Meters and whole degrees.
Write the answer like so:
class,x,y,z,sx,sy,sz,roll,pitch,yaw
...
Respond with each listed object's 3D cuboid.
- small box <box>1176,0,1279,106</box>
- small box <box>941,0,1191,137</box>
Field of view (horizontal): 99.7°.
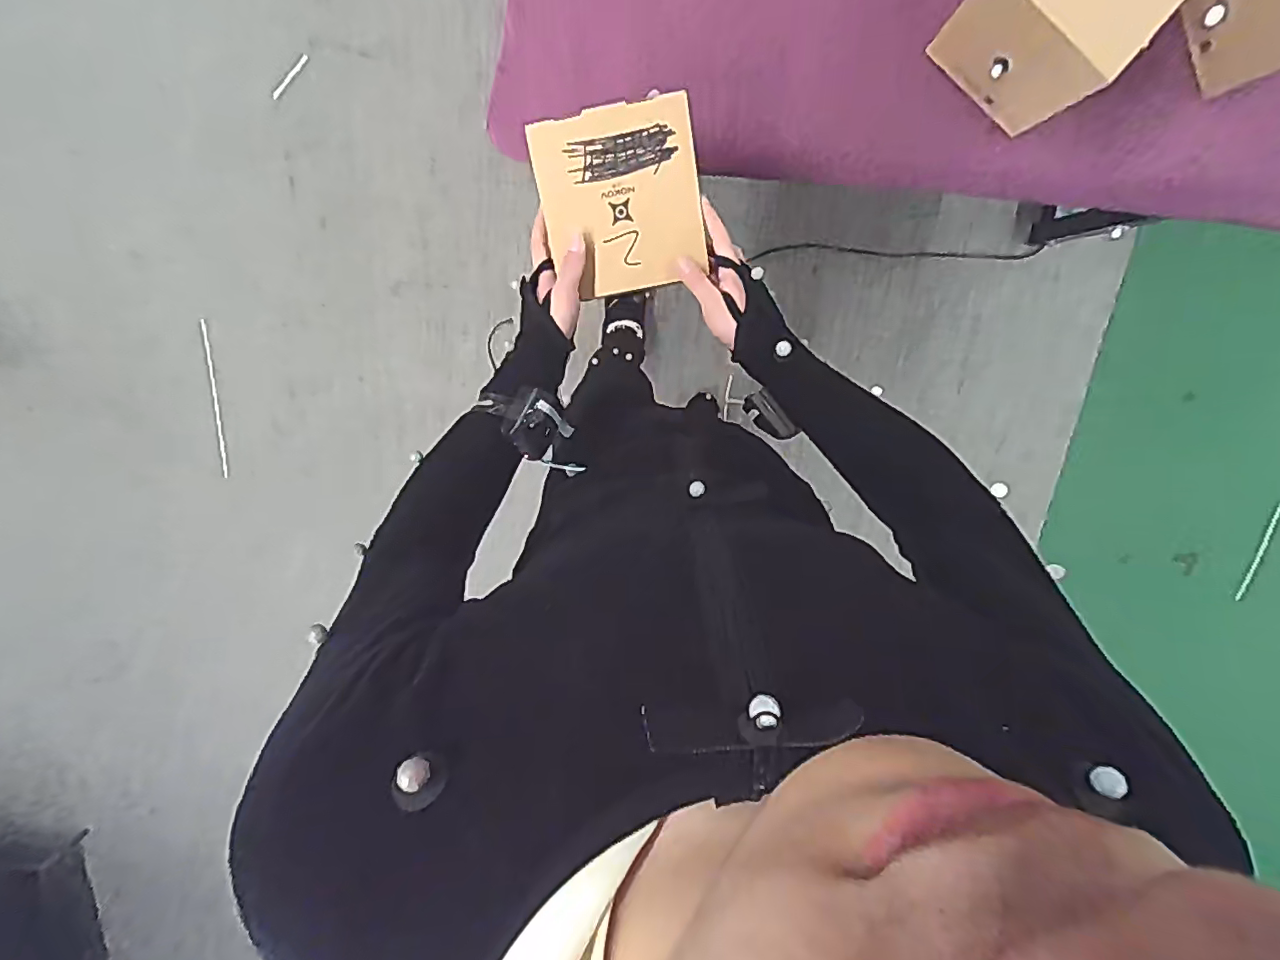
class,x,y,z,sx,sy,sz,roll,pitch,yaw
small box,0.765,-0.568,0.598,0.179,0.176,0.168,-28,102,10
small box,0.482,-0.539,0.615,0.168,0.176,0.179,37,103,-8
